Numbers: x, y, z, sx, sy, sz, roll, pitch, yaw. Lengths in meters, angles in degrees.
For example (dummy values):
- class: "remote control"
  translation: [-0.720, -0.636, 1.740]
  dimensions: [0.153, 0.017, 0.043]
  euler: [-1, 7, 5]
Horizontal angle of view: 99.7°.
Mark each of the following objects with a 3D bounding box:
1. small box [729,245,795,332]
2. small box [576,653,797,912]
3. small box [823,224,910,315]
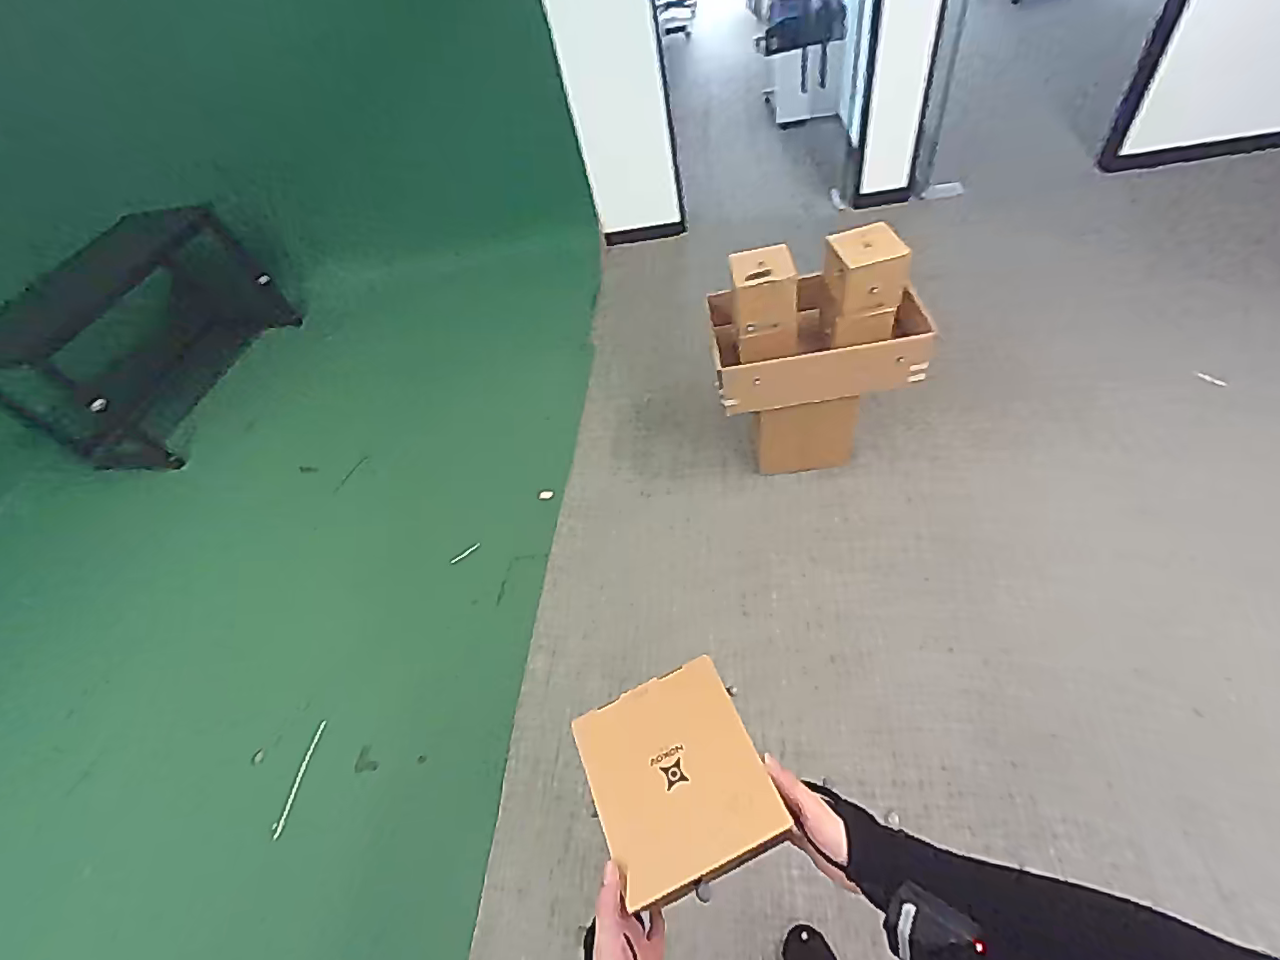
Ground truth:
- class: "small box"
  translation: [0.354, -0.544, 1.564]
  dimensions: [0.168, 0.176, 0.179]
  euler: [-7, 50, 9]
- class: "small box"
  translation: [0.052, 0.321, 0.578]
  dimensions: [0.168, 0.176, 0.179]
  euler: [-24, 51, -4]
- class: "small box"
  translation: [0.631, -0.585, 1.527]
  dimensions: [0.168, 0.176, 0.179]
  euler: [-13, 51, 3]
